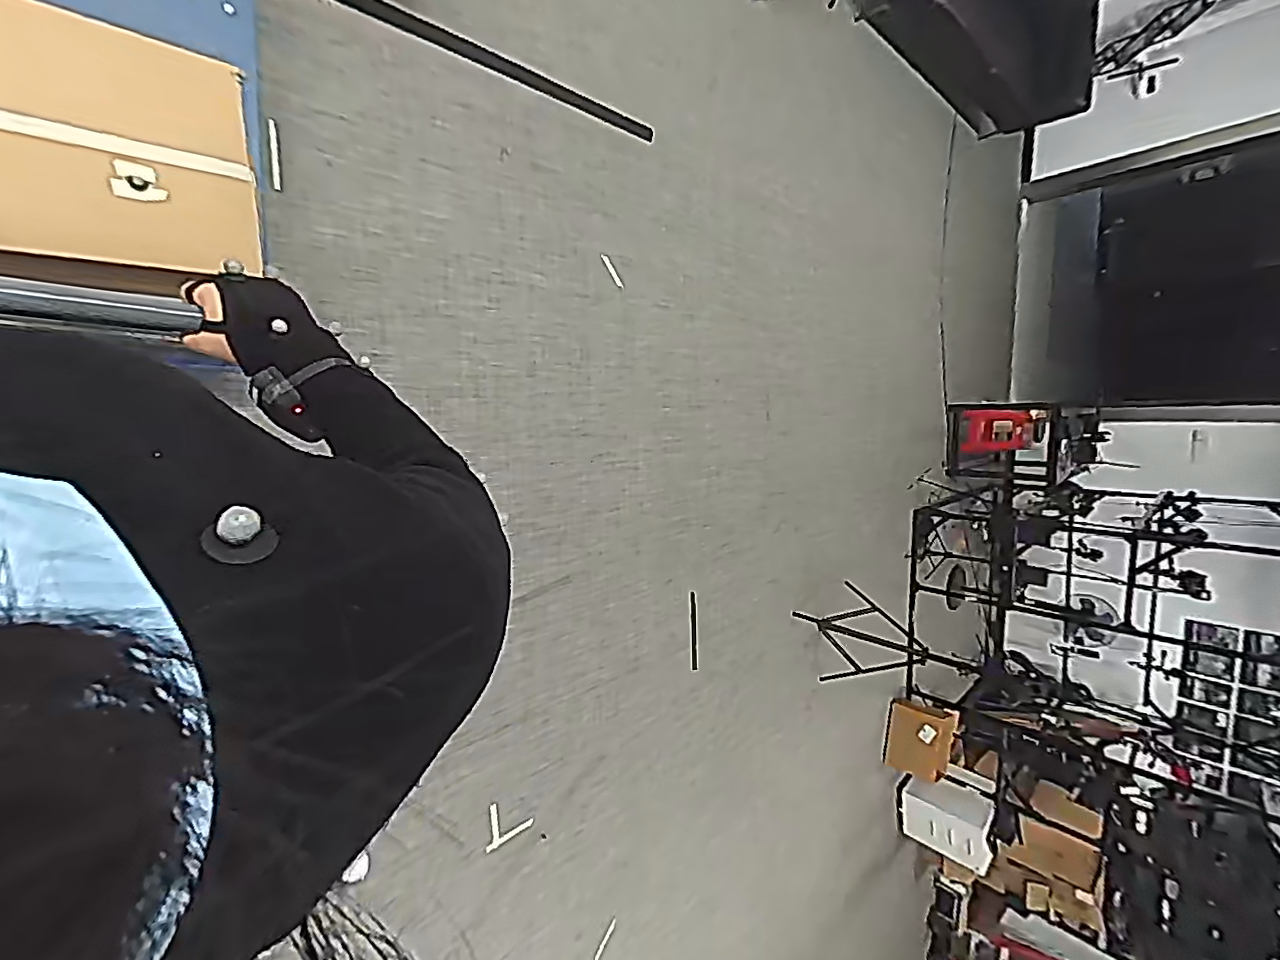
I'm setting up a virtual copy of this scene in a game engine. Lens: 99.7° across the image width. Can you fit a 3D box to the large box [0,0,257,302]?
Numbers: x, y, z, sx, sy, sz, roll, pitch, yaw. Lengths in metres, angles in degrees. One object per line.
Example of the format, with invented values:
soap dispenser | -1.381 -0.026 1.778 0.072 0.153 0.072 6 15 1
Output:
large box | -0.864 -0.467 0.810 0.408 0.320 0.320 -9 101 -44
